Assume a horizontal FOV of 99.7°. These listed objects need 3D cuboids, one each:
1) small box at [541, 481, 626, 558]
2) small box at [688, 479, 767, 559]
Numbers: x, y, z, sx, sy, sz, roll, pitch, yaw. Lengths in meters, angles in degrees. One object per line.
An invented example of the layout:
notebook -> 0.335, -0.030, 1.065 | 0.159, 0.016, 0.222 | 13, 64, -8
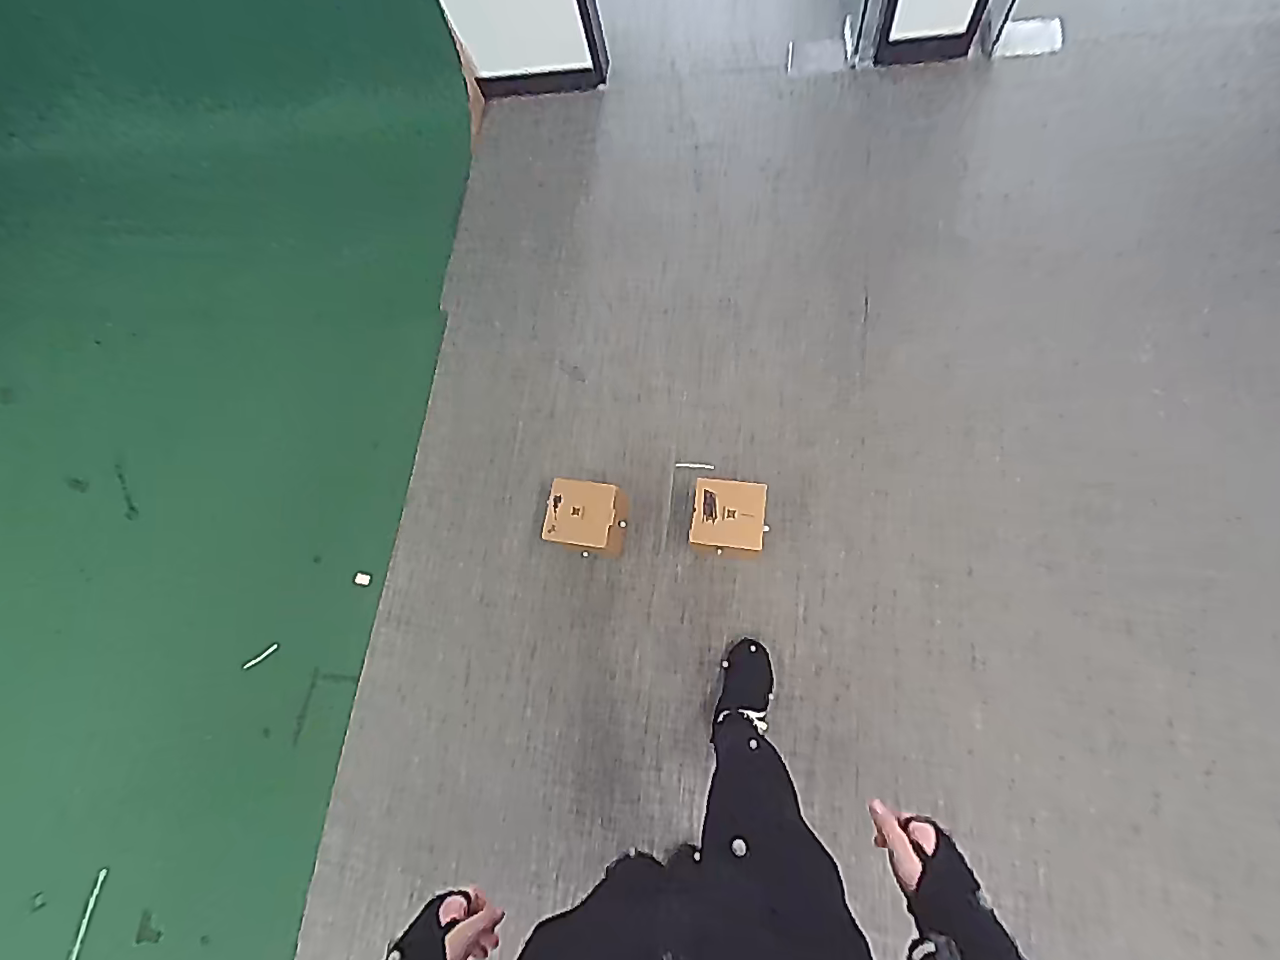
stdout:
small box -> -0.143, 0.112, 1.453 | 0.179, 0.176, 0.168 | 7, 76, 11
small box -> 0.225, 0.105, 1.384 | 0.179, 0.176, 0.168 | 6, 75, 11
